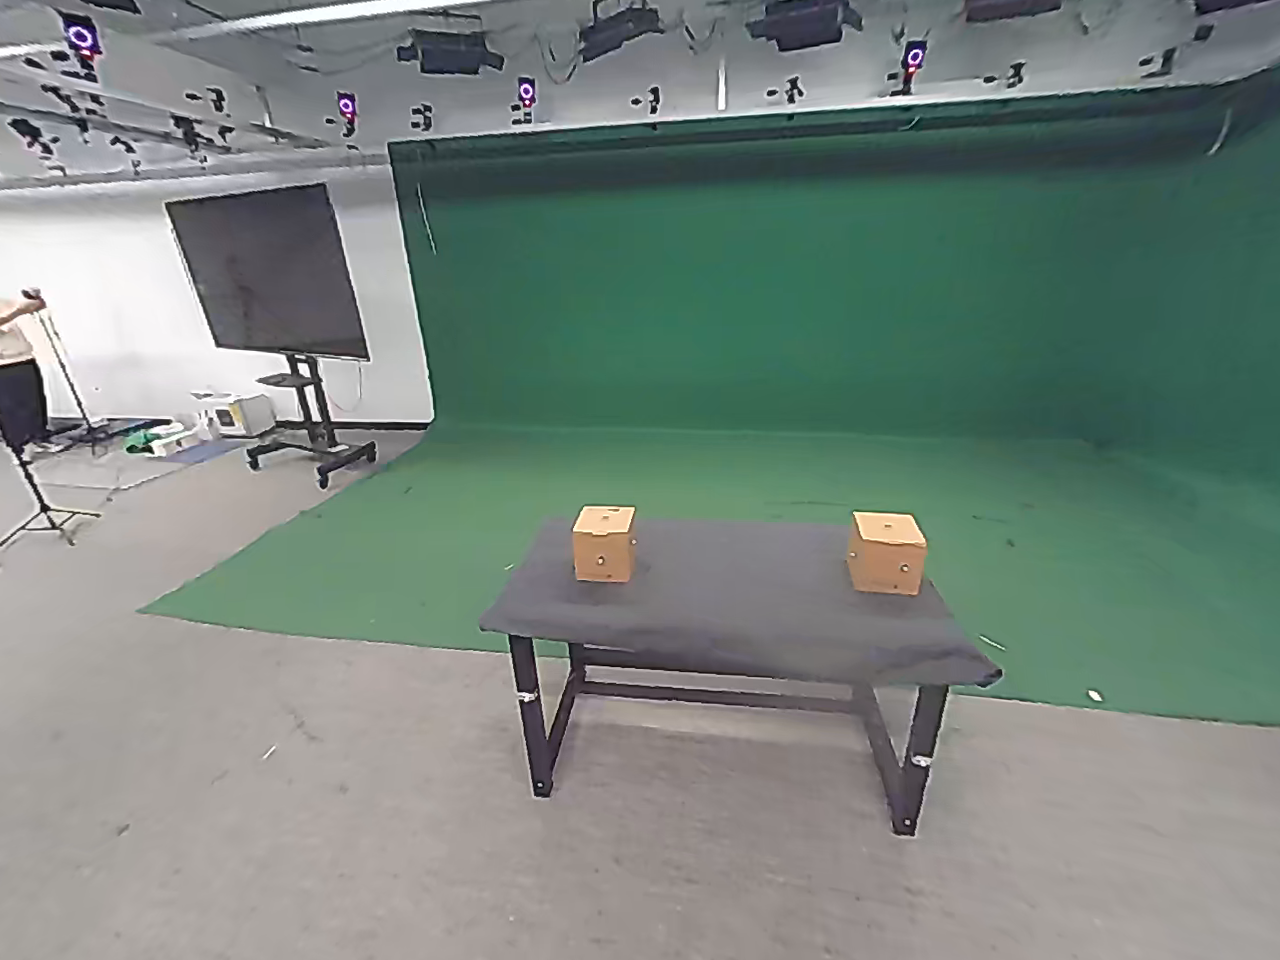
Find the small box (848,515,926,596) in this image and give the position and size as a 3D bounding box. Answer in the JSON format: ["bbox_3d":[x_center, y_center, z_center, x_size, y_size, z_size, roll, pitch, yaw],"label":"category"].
[{"bbox_3d":[0.704,0.216,1.558,0.168,0.176,0.179,3,22,11],"label":"small box"}]

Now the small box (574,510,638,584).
[{"bbox_3d":[-0.097,0.205,1.662,0.168,0.176,0.179,1,23,7],"label":"small box"}]
